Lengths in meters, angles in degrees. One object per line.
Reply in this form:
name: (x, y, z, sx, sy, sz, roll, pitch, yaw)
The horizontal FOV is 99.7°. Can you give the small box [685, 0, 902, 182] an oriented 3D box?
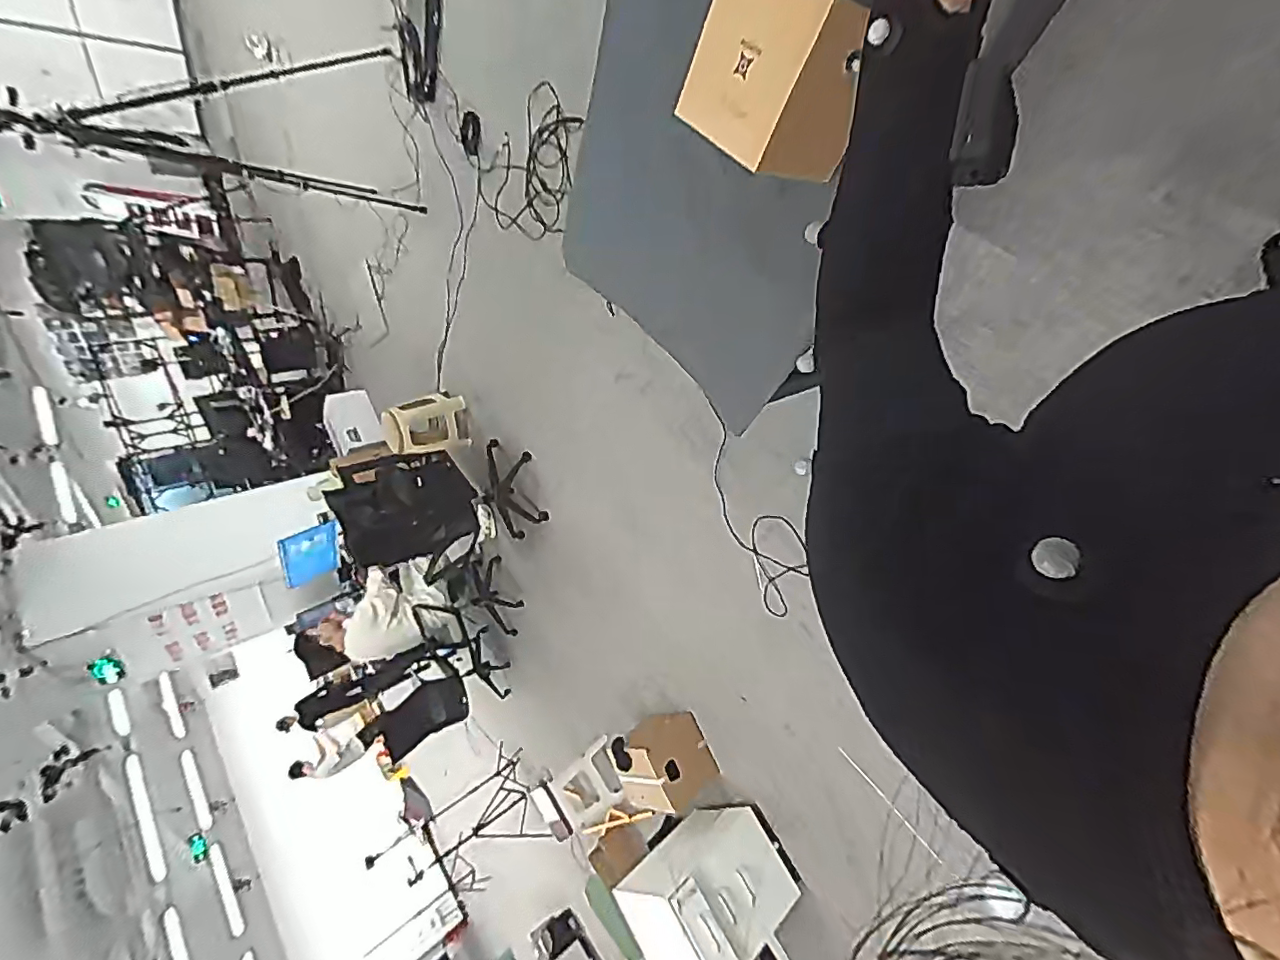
small box: (0.193, -0.502, 0.678, 0.168, 0.176, 0.179, 52, 140, 24)
